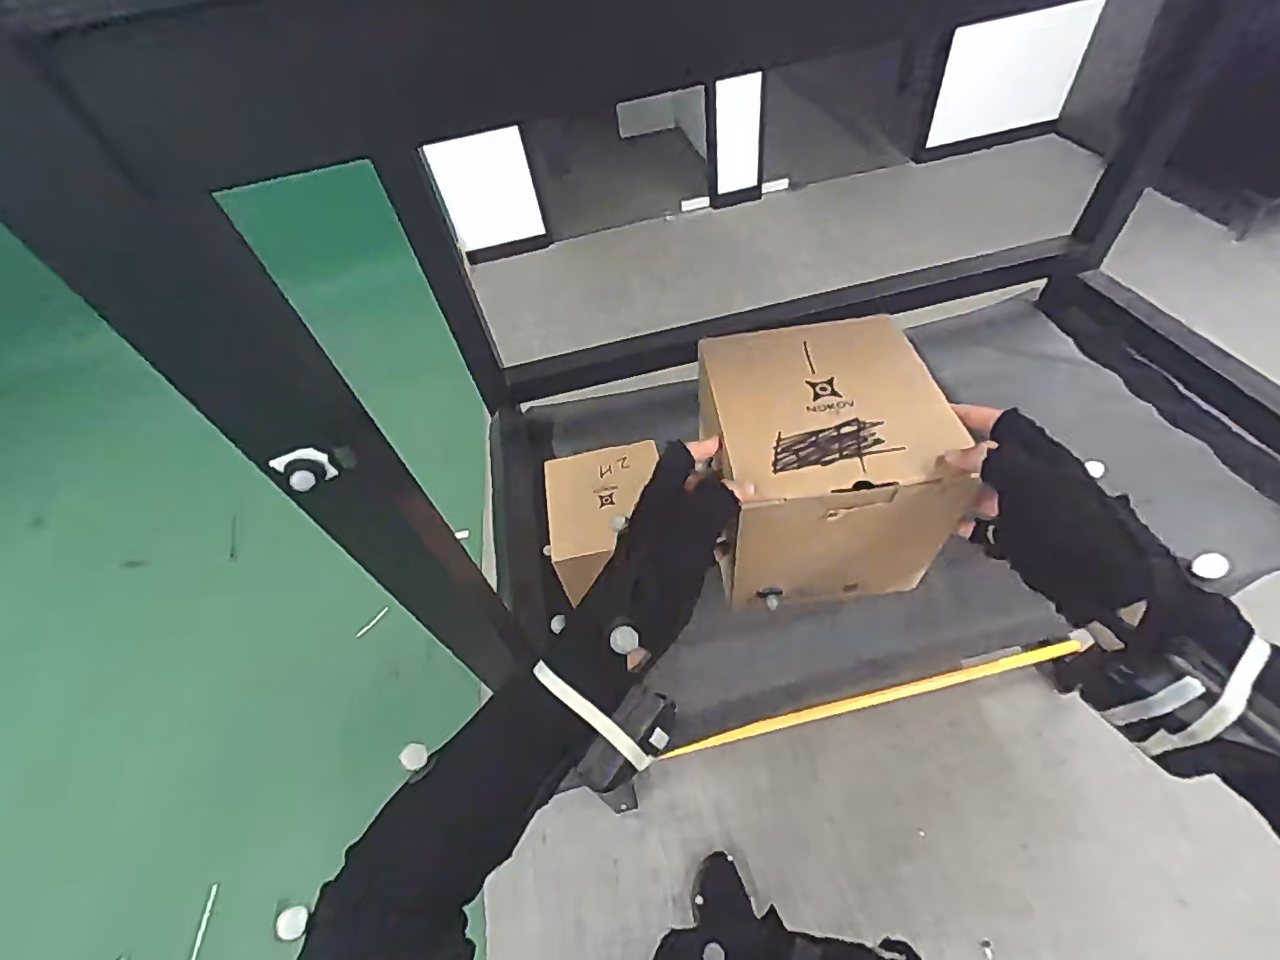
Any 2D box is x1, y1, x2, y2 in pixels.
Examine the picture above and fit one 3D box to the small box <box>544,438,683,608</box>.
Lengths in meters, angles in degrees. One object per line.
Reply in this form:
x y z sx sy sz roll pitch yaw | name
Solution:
-0.035 0.070 0.785 0.168 0.176 0.179 -11 50 -1 | small box
